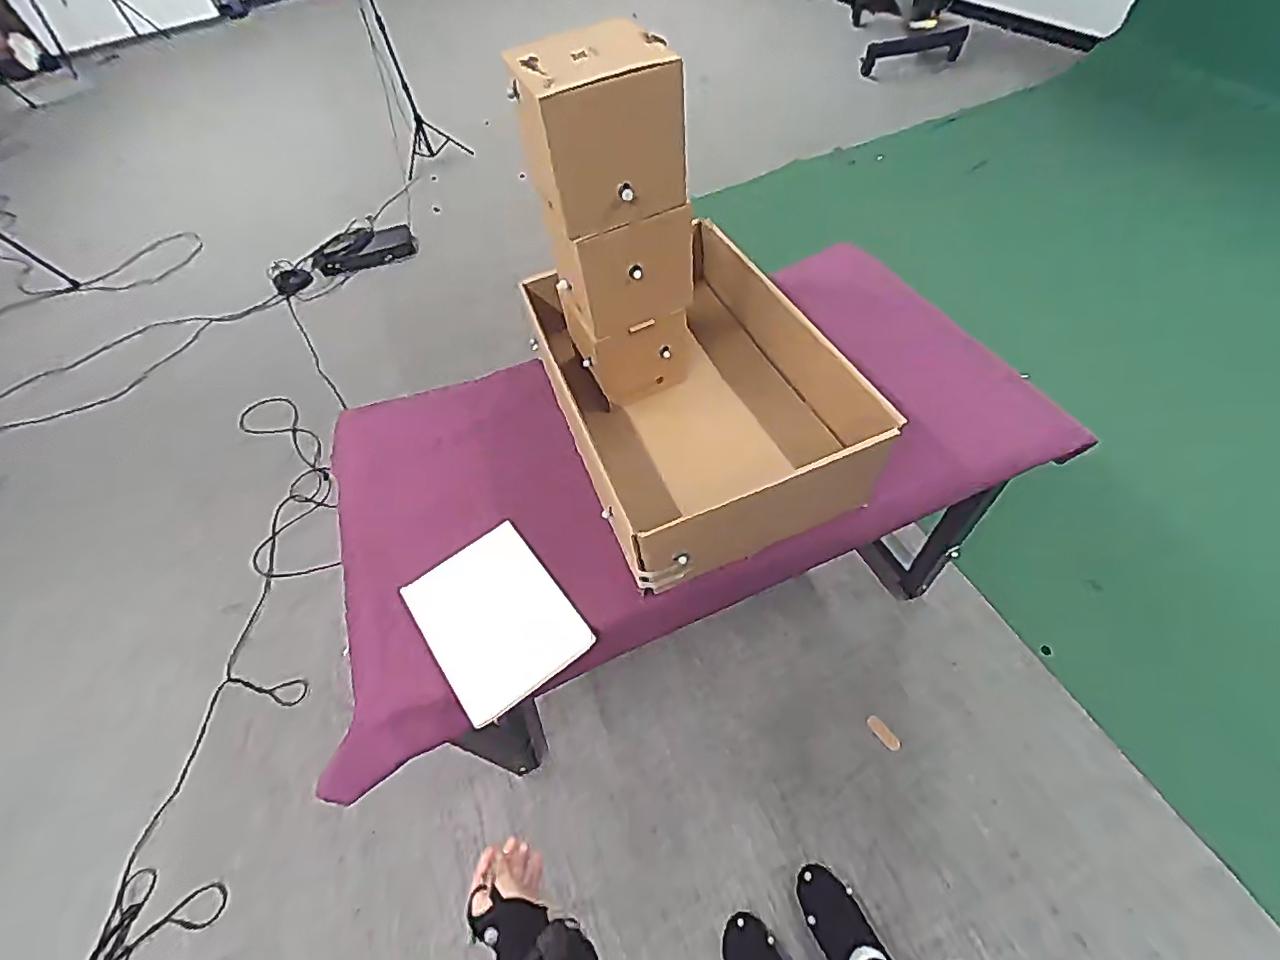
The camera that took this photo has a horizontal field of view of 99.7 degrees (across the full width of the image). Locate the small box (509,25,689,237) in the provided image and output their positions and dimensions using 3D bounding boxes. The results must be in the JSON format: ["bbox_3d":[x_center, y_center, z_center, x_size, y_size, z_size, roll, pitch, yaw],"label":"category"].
[{"bbox_3d":[-0.049,-0.450,0.703,0.179,0.176,0.168,-21,55,-9],"label":"small box"}]

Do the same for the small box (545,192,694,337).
[{"bbox_3d":[-0.029,-0.354,0.835,0.179,0.176,0.168,-24,56,-9],"label":"small box"}]
